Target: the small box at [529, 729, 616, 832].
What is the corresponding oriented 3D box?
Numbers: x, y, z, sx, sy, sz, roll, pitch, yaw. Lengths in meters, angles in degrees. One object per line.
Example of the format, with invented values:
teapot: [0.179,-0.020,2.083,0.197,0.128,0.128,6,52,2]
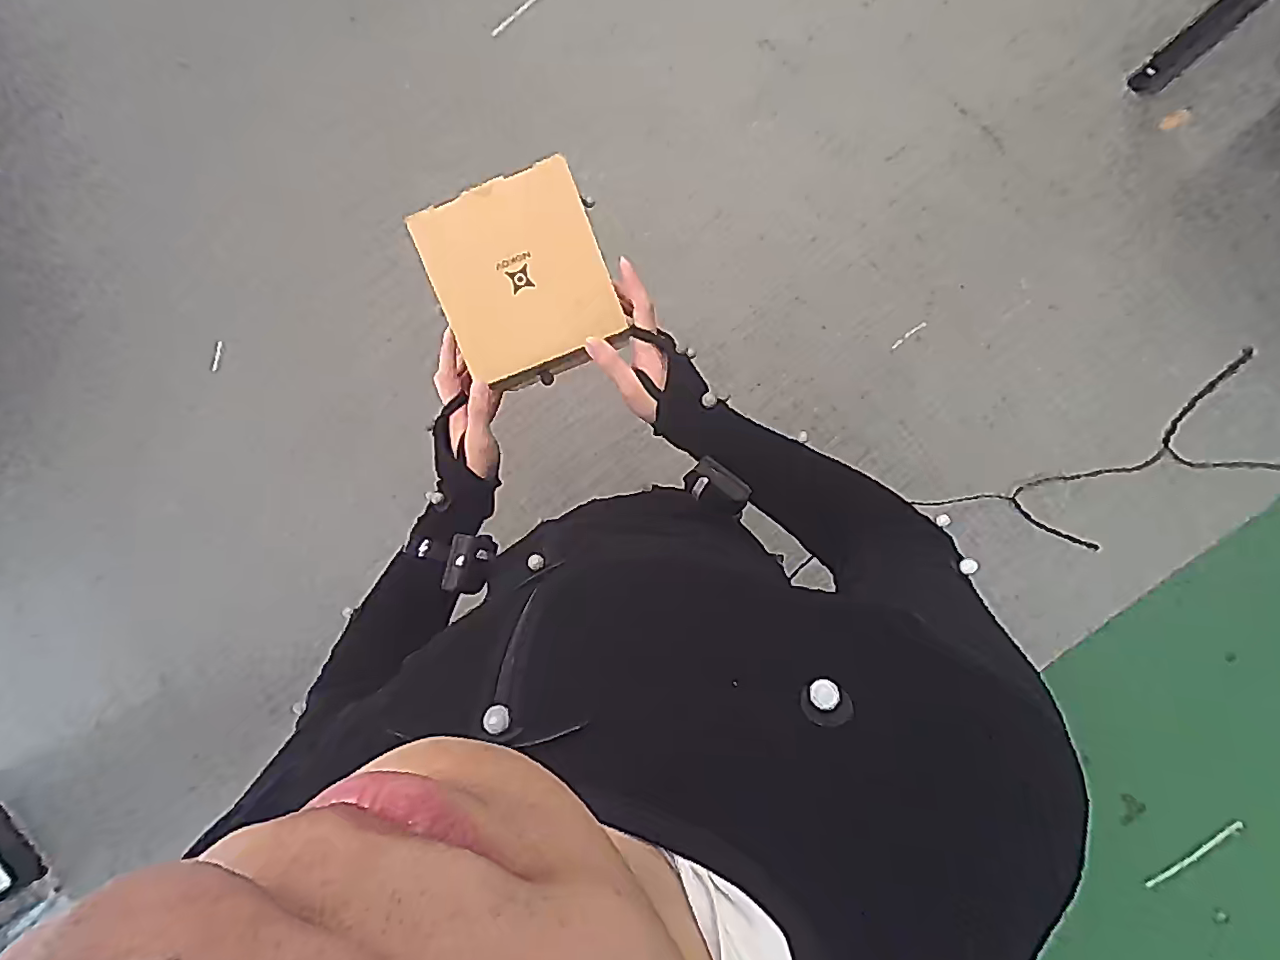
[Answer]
small box: [-0.187,0.846,1.551,0.168,0.176,0.179,-35,87,3]
